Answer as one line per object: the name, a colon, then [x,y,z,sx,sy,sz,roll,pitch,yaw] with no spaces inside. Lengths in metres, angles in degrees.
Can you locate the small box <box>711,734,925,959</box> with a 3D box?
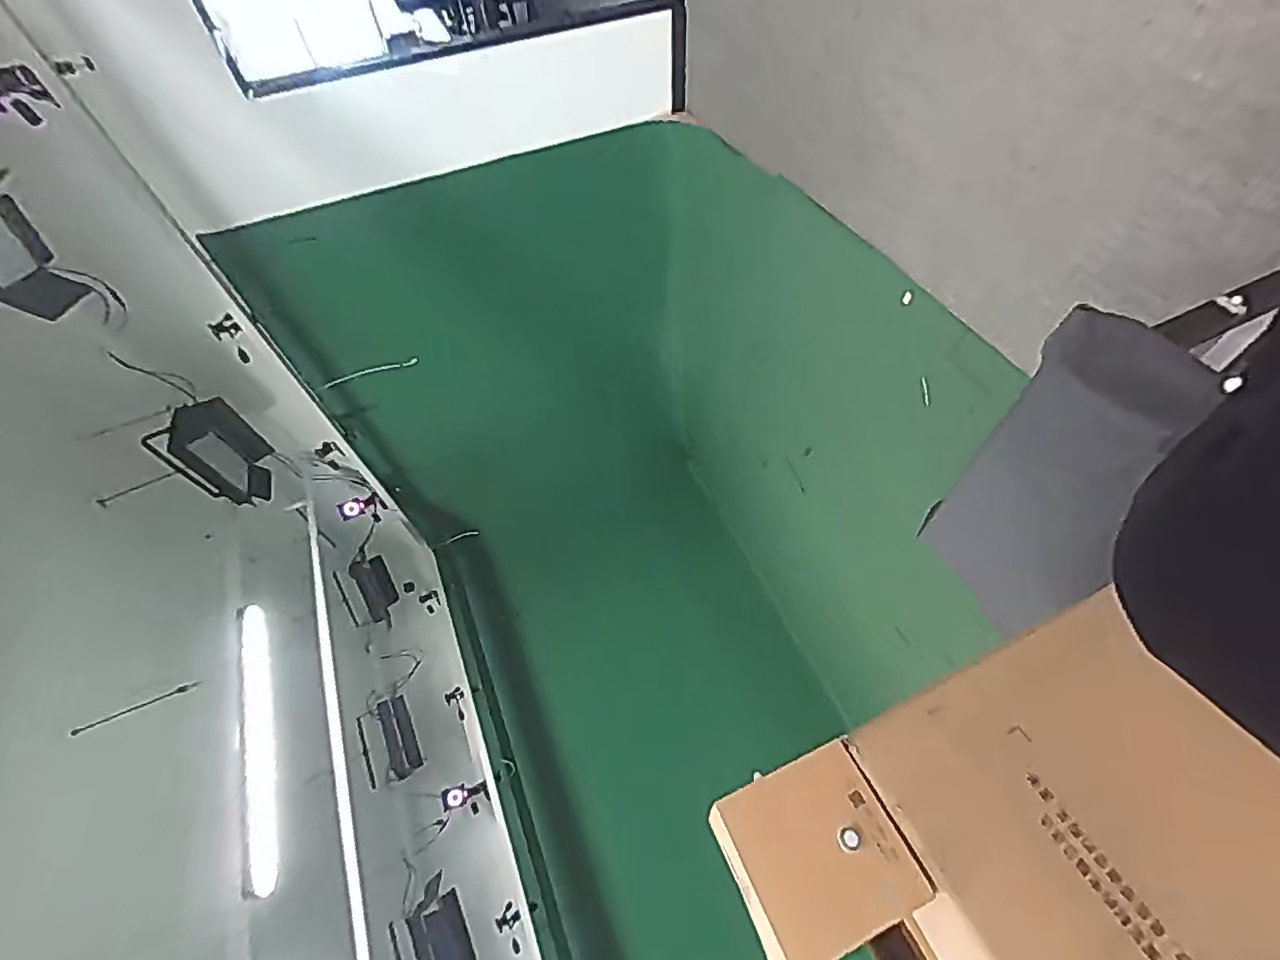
small box: [0.200,0.435,0.648,0.179,0.176,0.168,86,160,-52]
